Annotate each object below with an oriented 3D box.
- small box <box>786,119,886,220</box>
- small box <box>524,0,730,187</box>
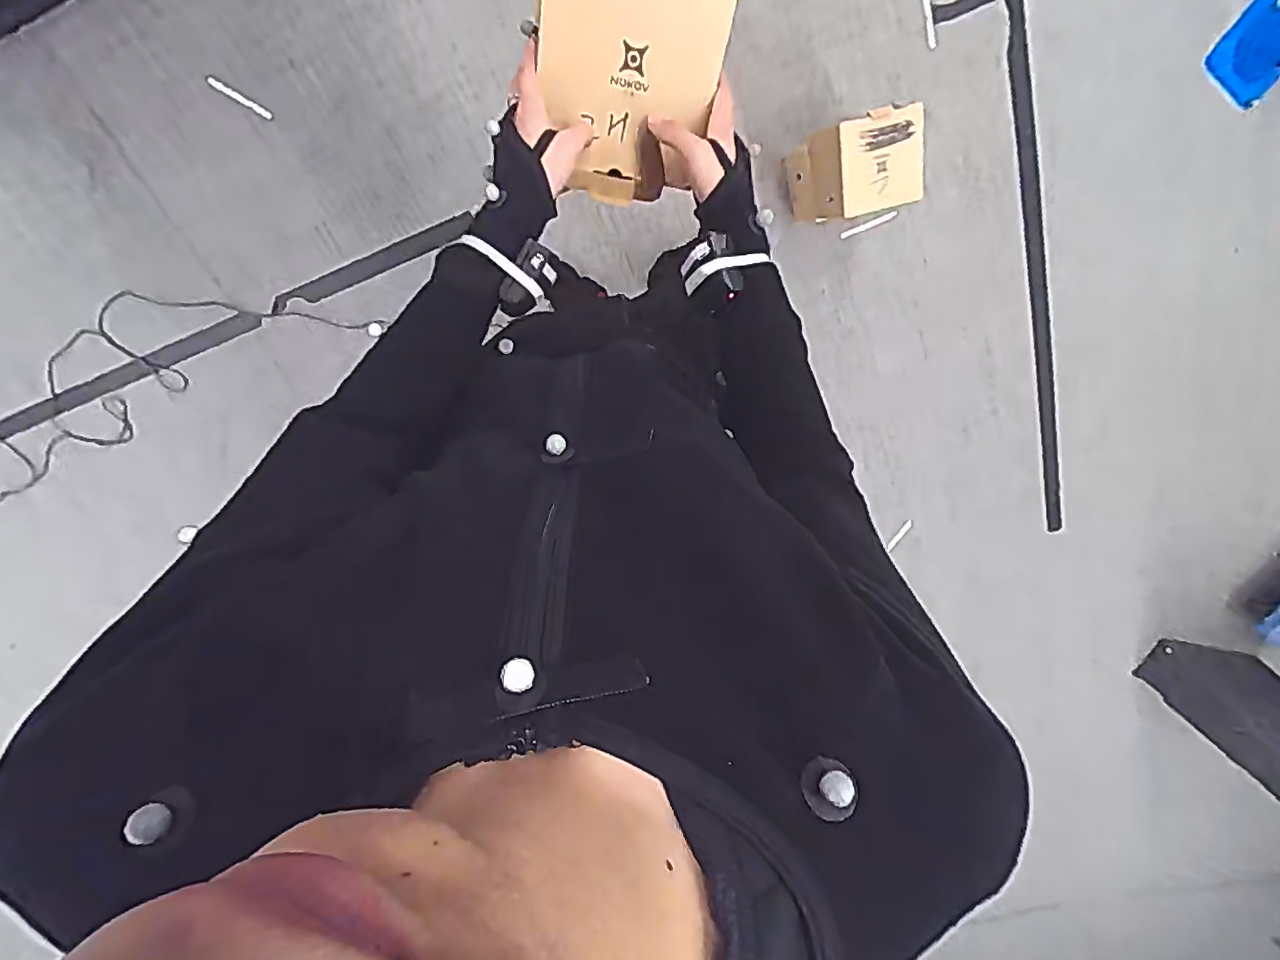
[{"bbox_3d":[0.465,-0.738,1.306,0.179,0.176,0.168,-18,116,4],"label":"small box"},{"bbox_3d":[-0.027,-0.423,0.539,0.168,0.176,0.179,3,131,-14],"label":"small box"}]
